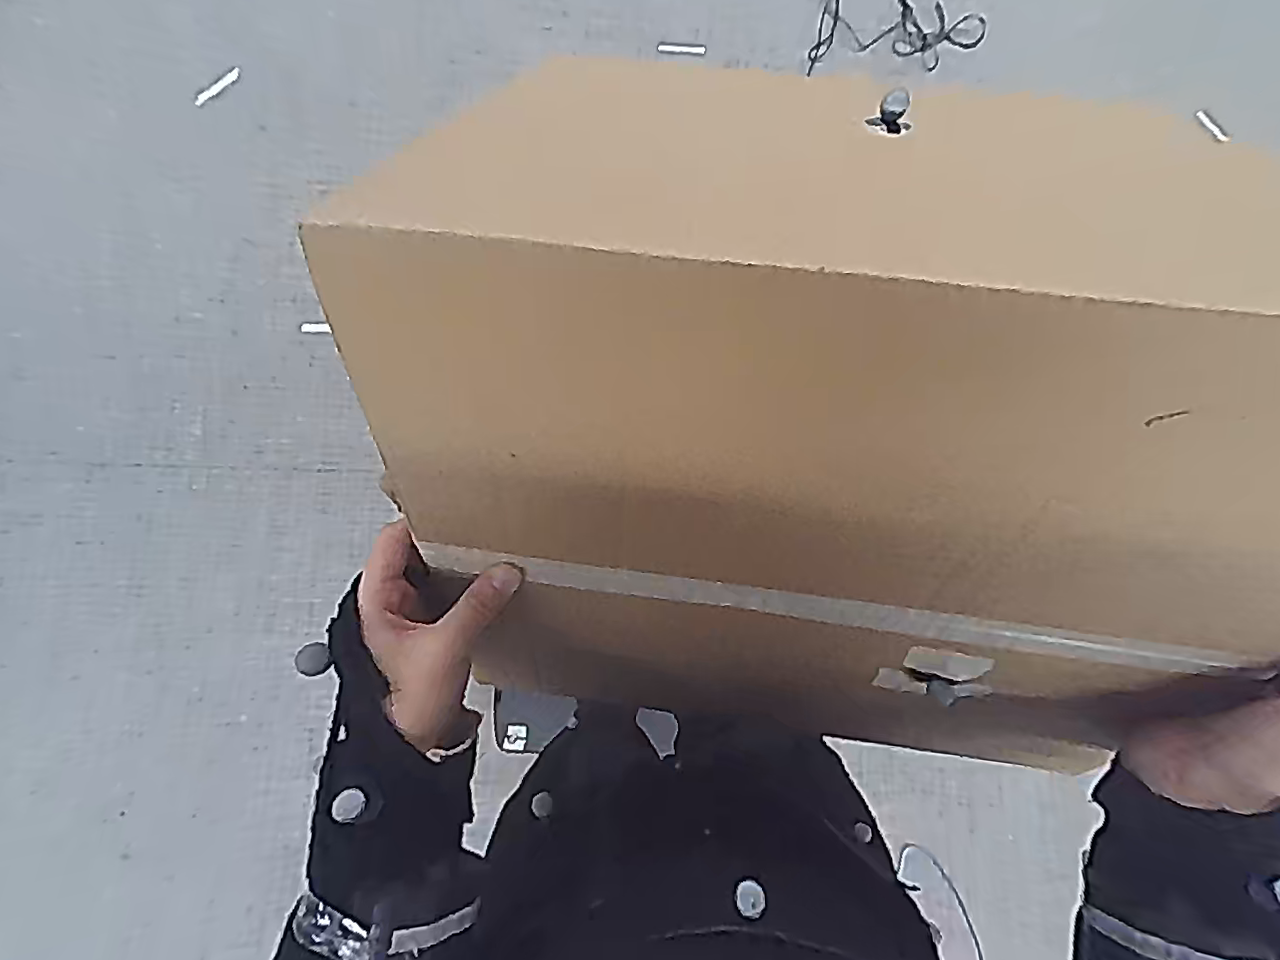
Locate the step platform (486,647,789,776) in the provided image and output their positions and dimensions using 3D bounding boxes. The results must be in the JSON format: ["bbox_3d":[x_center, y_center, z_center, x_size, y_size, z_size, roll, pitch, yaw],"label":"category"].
[{"bbox_3d":[-0.004,0.480,1.268,0.684,0.204,0.286,8,82,0],"label":"step platform"}]
